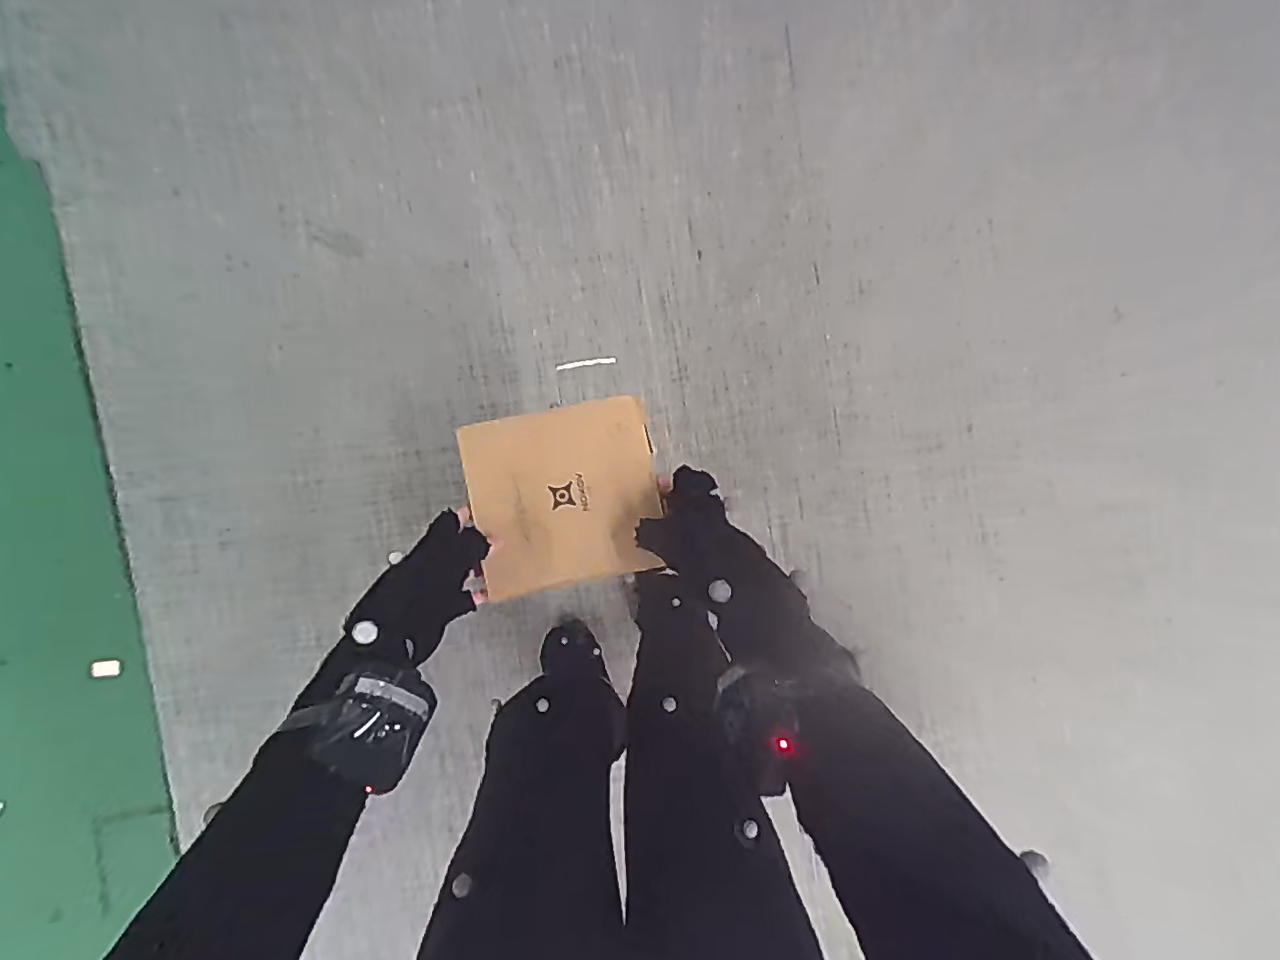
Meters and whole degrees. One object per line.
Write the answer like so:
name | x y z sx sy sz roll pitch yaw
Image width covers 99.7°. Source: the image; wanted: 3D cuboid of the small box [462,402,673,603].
small box | -0.074 0.025 0.592 0.179 0.176 0.168 -12 85 -4
